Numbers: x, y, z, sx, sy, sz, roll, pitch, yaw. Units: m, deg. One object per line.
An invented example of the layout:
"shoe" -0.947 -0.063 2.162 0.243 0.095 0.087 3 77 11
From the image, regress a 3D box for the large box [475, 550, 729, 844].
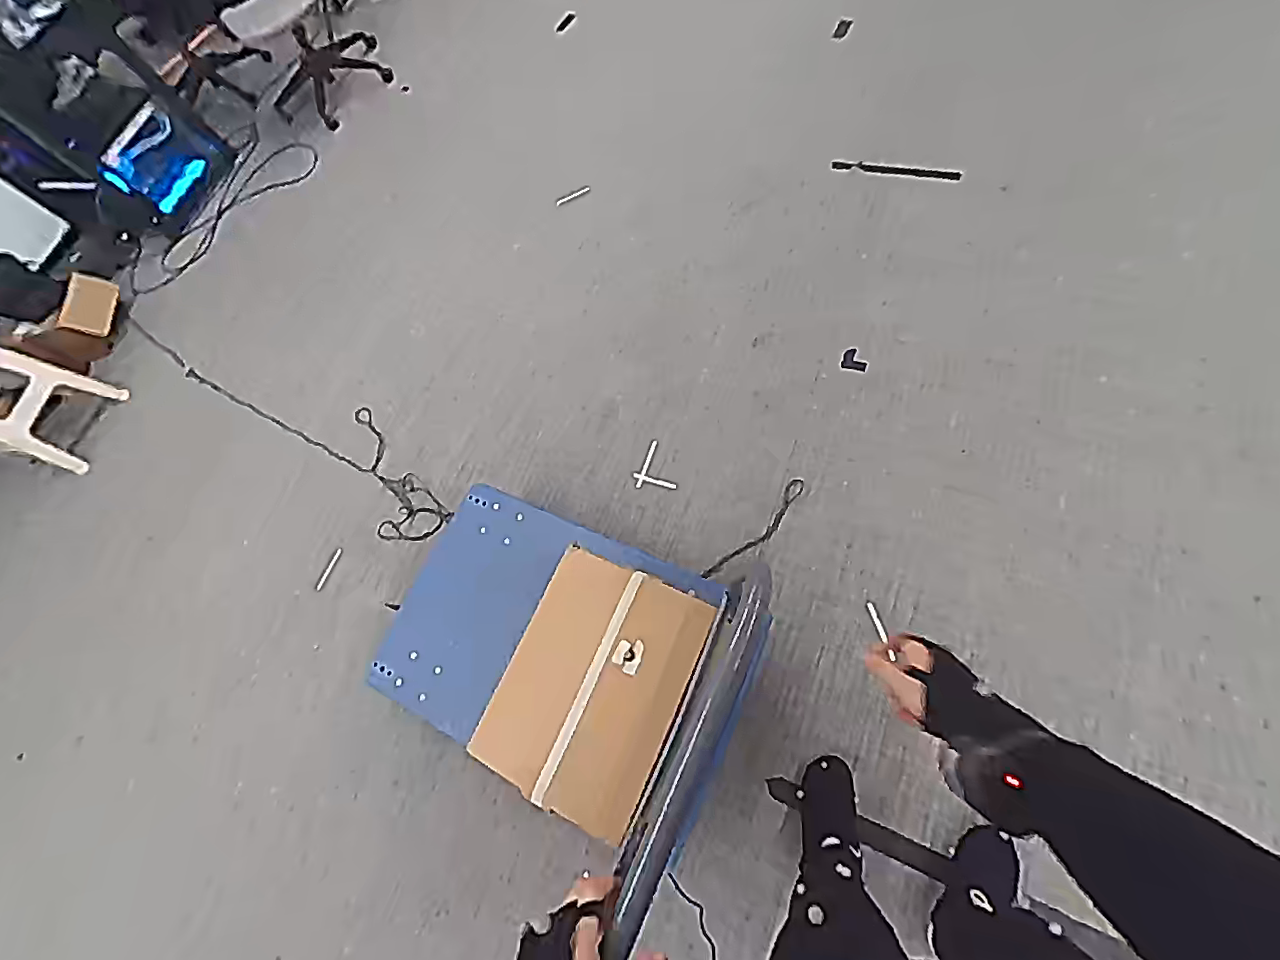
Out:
"large box" -0.047 0.411 1.079 0.320 0.320 0.408 20 74 20
